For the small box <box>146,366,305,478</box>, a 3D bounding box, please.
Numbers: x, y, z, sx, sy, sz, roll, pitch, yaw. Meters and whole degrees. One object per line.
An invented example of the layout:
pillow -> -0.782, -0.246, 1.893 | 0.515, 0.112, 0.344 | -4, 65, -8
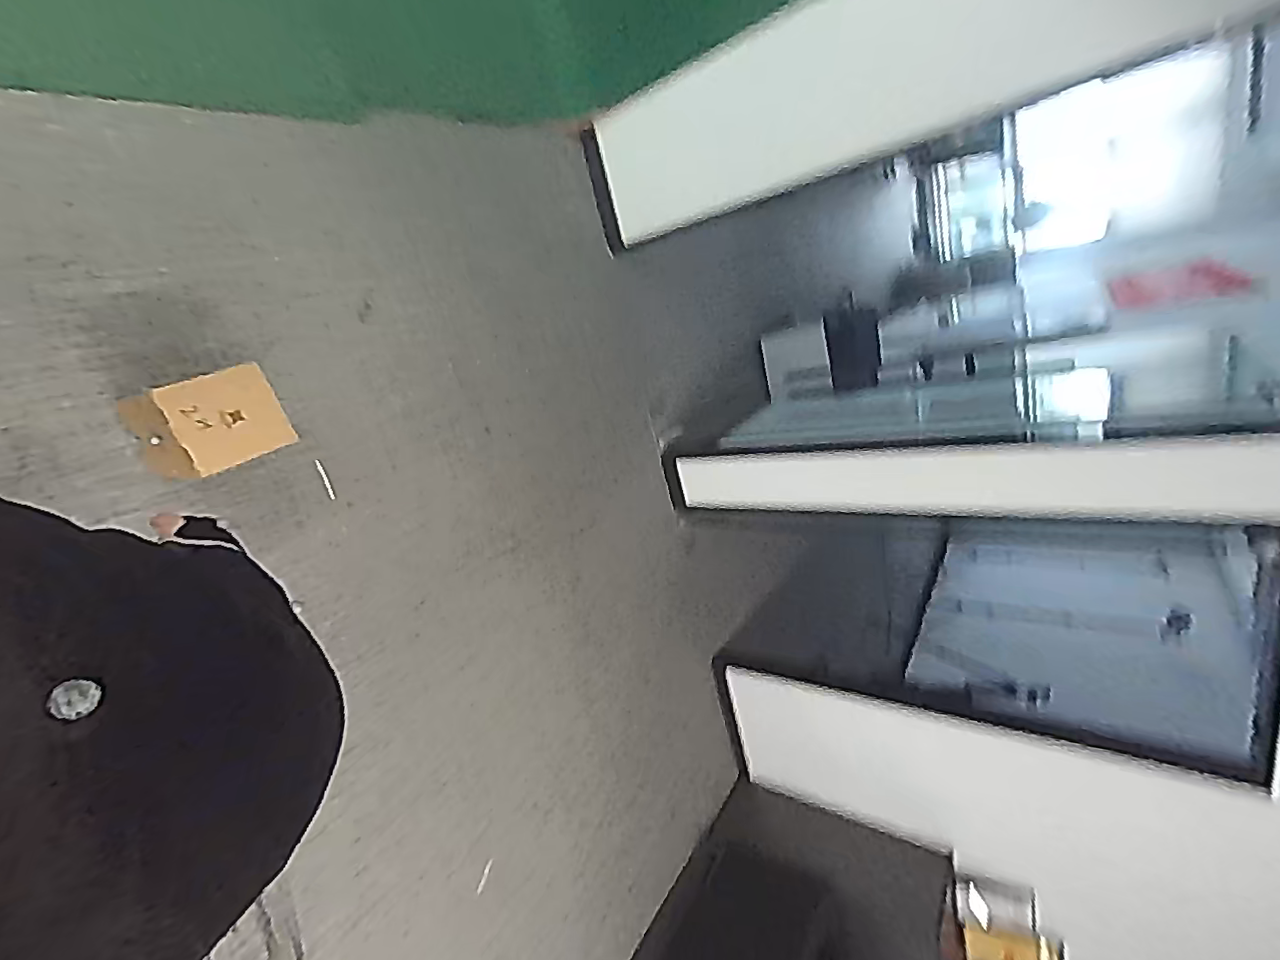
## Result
small box -> -0.807, -0.113, 1.055 | 0.179, 0.176, 0.168 | -37, 117, -44
